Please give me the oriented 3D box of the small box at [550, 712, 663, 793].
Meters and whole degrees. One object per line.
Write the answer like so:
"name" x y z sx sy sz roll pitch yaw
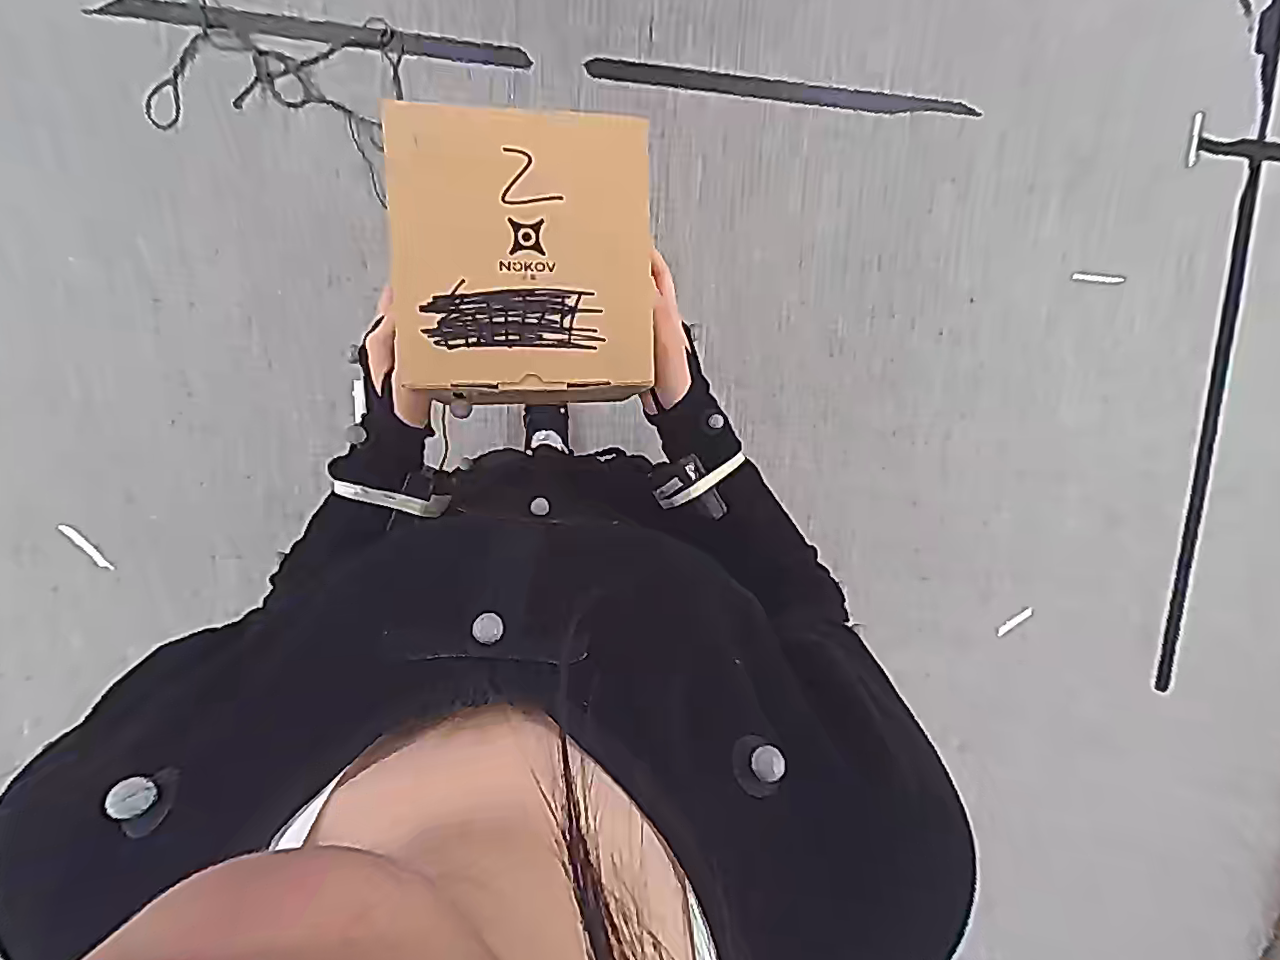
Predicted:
"small box" -0.056 0.502 0.873 0.168 0.176 0.179 2 97 -5

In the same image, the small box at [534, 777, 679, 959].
"small box" -0.047 0.520 0.712 0.168 0.176 0.179 3 98 -4
